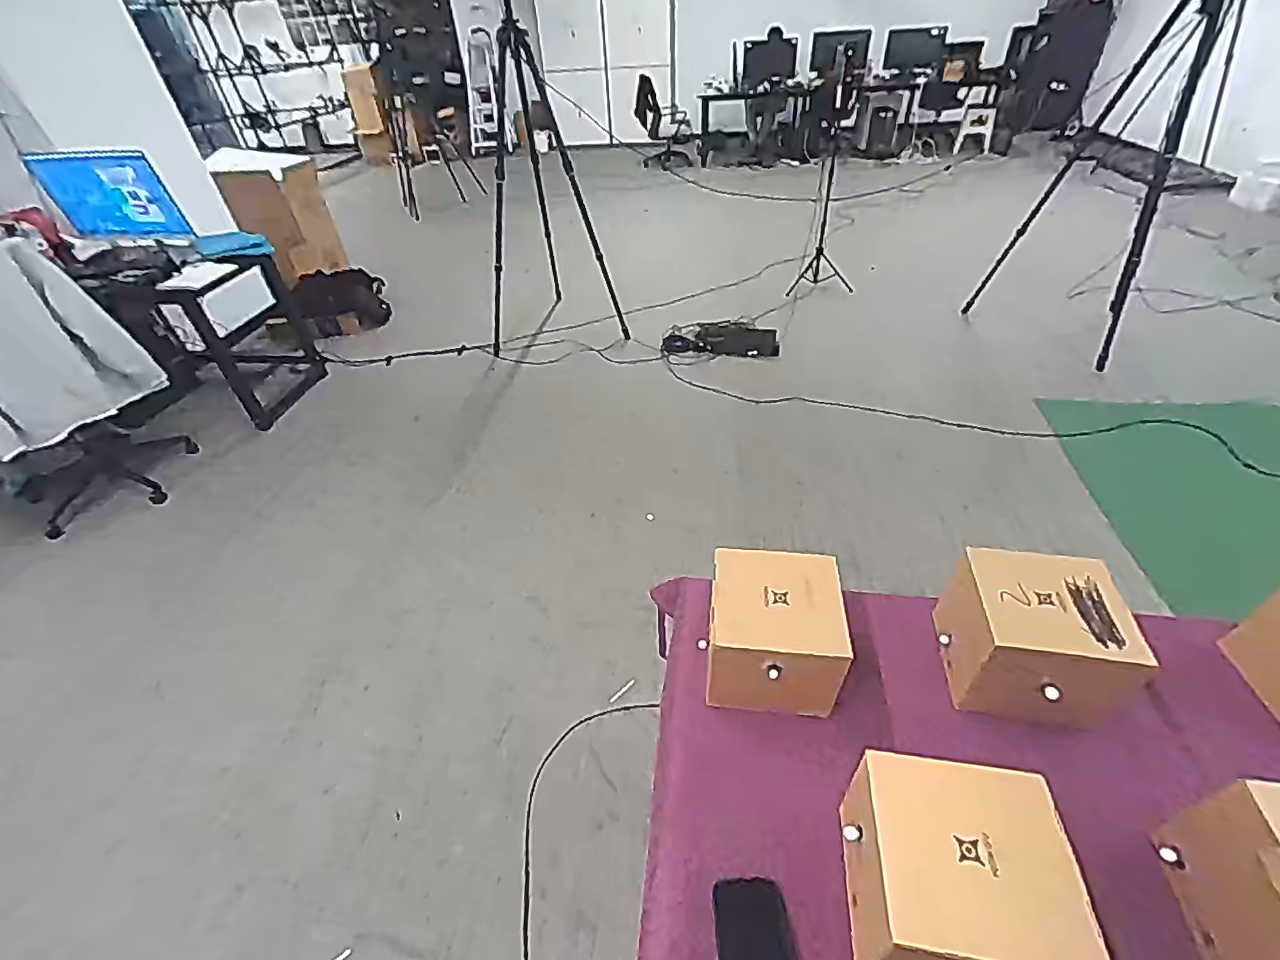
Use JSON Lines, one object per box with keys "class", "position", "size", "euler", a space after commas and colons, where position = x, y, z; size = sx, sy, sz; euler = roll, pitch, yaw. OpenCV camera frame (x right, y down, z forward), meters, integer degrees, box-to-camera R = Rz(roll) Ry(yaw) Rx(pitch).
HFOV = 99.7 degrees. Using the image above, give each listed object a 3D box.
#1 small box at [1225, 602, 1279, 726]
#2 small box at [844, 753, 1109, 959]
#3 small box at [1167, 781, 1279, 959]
{"class": "small box", "position": [0.937, 0.247, 0.692], "size": [0.168, 0.176, 0.179], "euler": [1, 41, 7]}
{"class": "small box", "position": [0.318, 0.413, 0.559], "size": [0.179, 0.176, 0.168], "euler": [5, 41, 9]}
{"class": "small box", "position": [0.668, 0.421, 0.515], "size": [0.179, 0.176, 0.168], "euler": [6, 41, 11]}
